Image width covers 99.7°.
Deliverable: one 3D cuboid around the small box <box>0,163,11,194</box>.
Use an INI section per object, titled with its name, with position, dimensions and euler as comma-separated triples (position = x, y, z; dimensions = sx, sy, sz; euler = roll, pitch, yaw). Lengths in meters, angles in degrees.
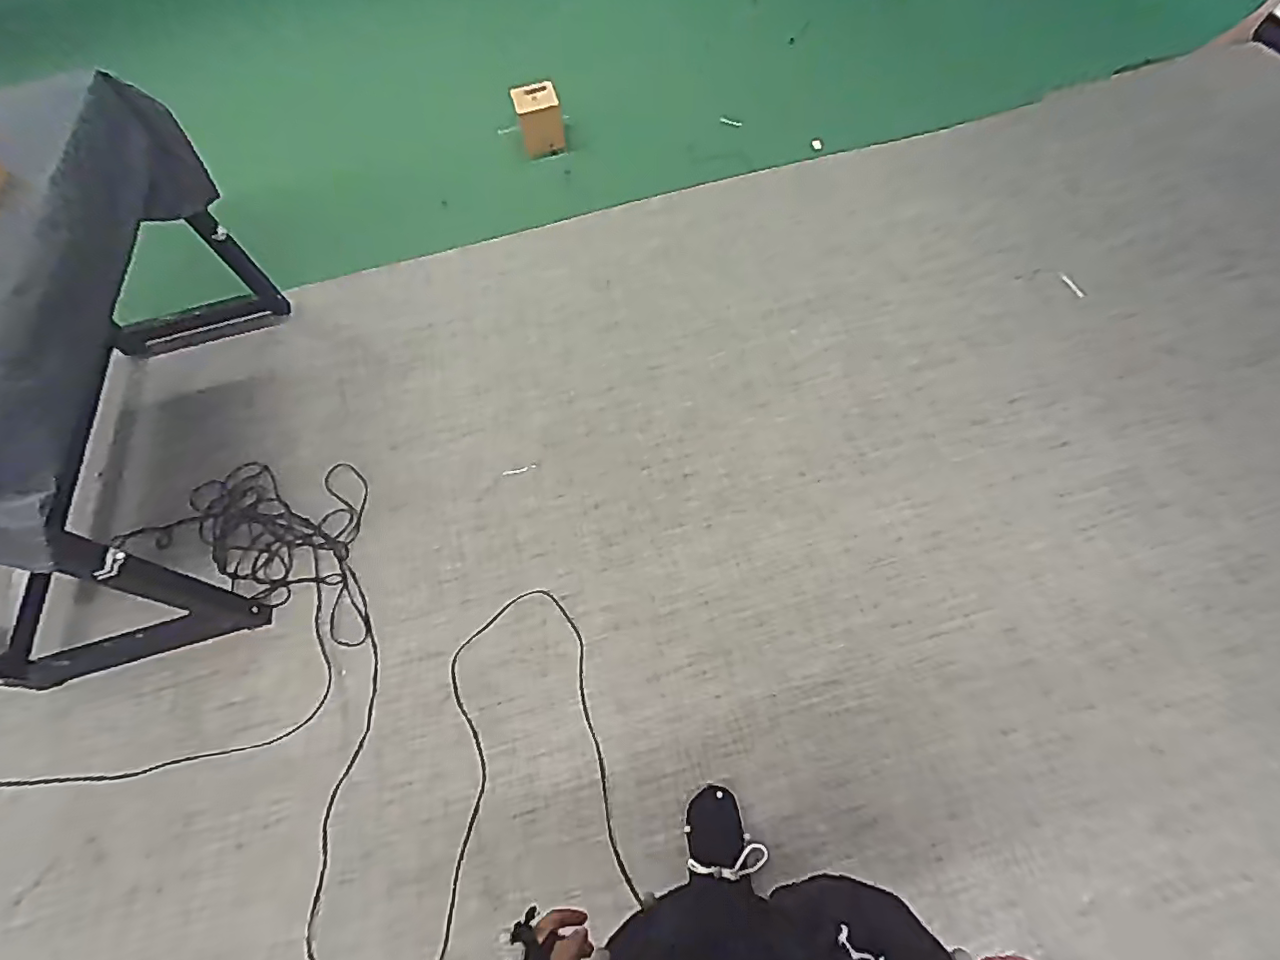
[small box]
position = -1.346, -0.575, 0.987
dimensions = 0.179, 0.176, 0.168
euler = -14, 63, -3
